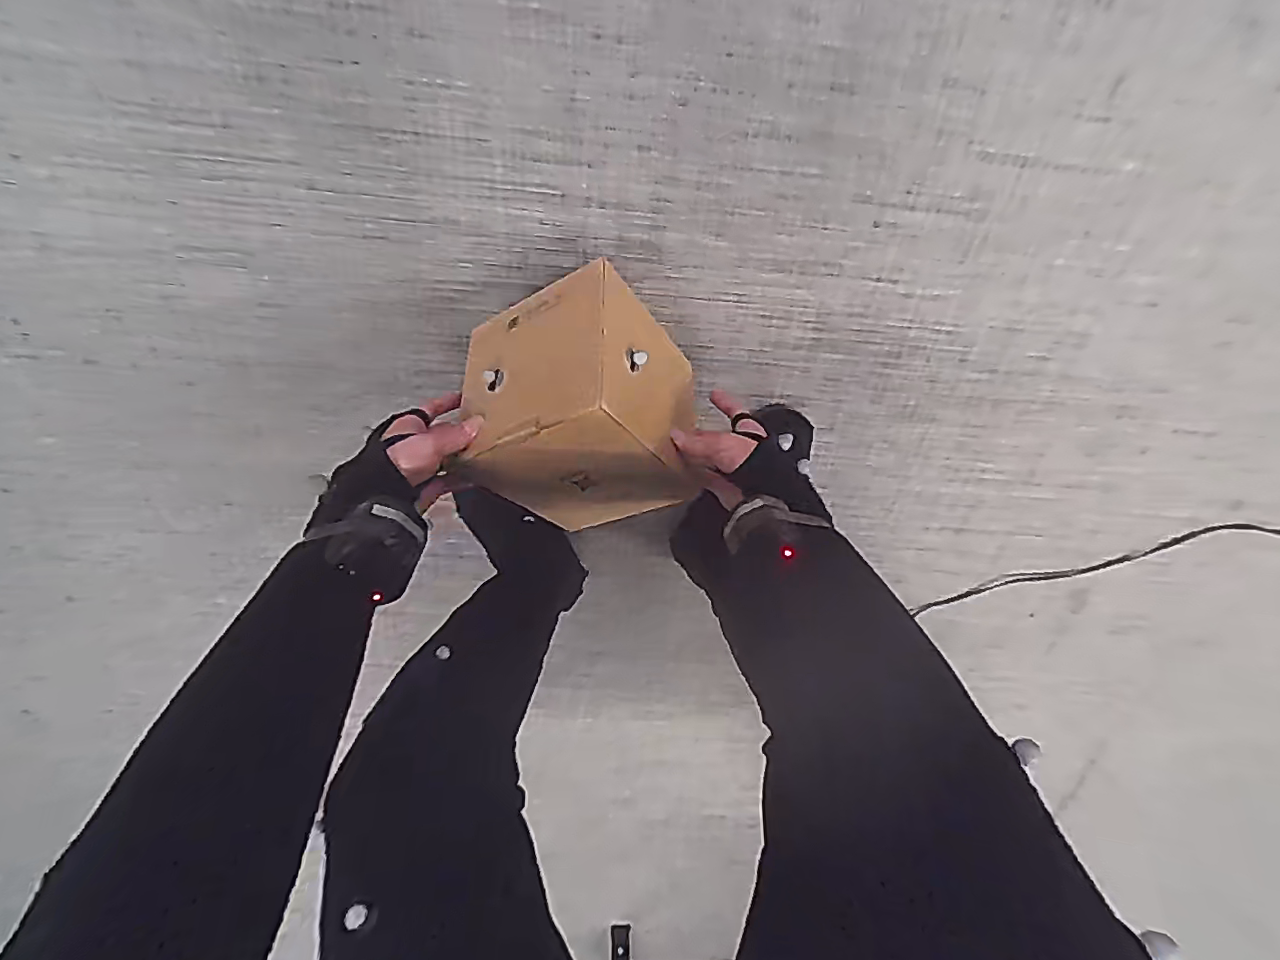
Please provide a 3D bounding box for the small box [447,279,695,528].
[{"bbox_3d":[-0.060,-0.070,0.536,0.168,0.176,0.179,-15,151,28],"label":"small box"}]
